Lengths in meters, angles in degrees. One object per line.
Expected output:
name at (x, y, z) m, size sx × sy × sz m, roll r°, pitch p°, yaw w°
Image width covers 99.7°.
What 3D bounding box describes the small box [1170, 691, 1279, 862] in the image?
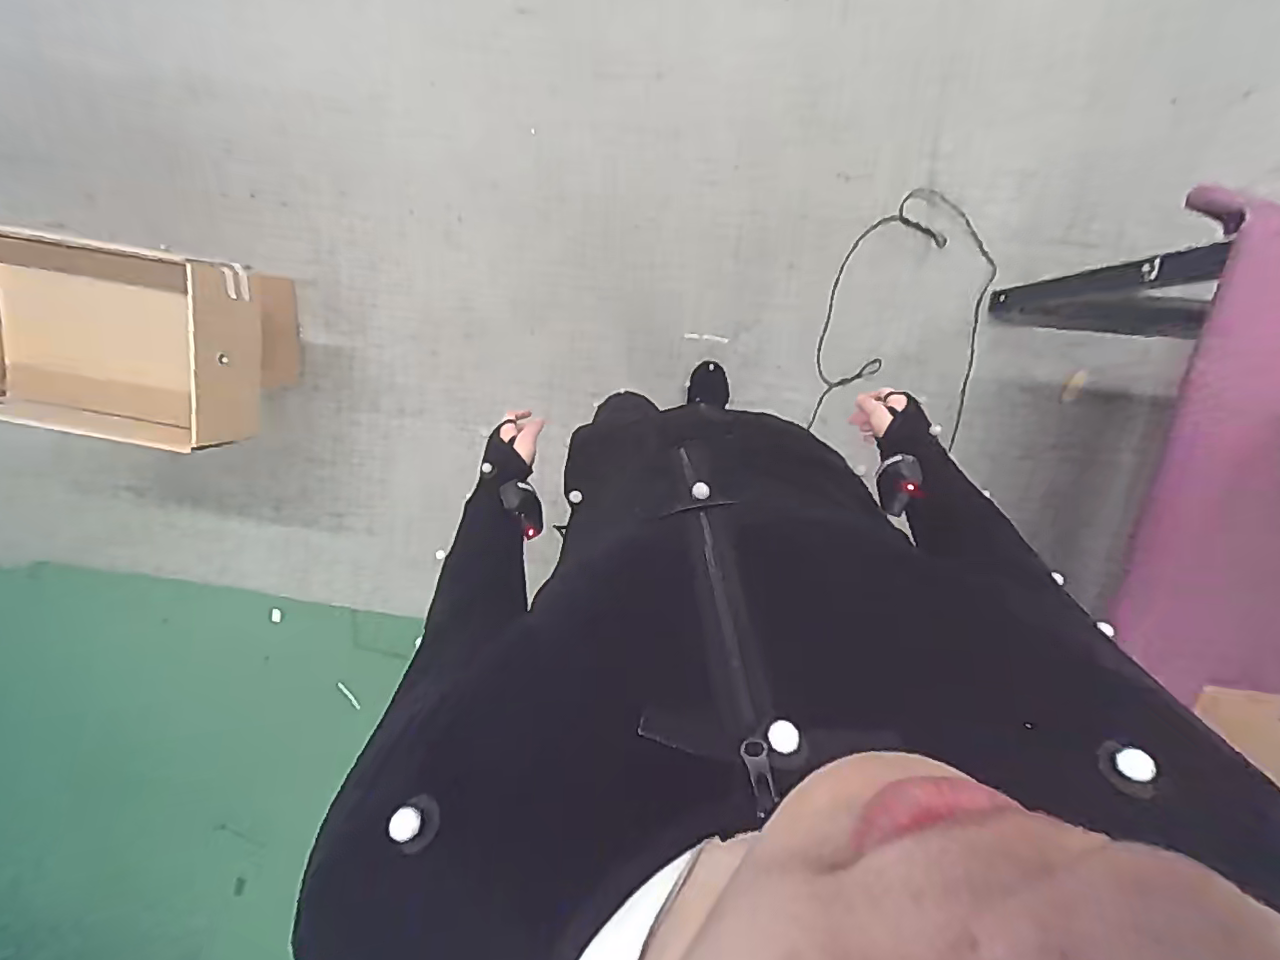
small box at (0.983, 0.452, 0.828) m, size 0.168 × 0.176 × 0.179 m, roll 8°, pitch 102°, yaw 2°
